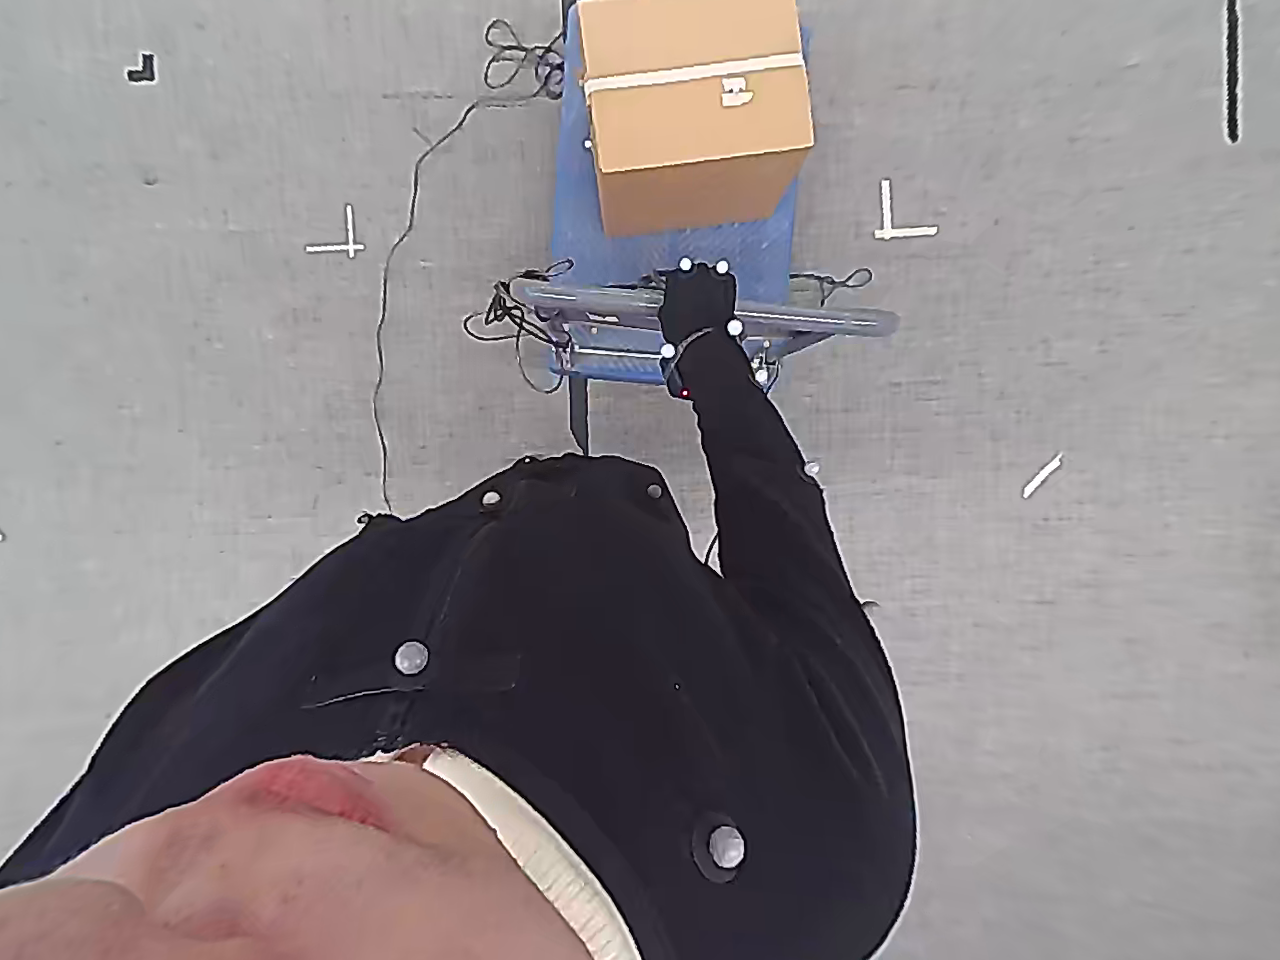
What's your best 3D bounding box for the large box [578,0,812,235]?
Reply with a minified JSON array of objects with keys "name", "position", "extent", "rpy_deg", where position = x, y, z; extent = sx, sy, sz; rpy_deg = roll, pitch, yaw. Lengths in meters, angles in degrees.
[{"name":"large box","position":[0.097,-0.755,1.142],"extent":[0.408,0.320,0.320],"rpy_deg":[-8,93,-2]}]
